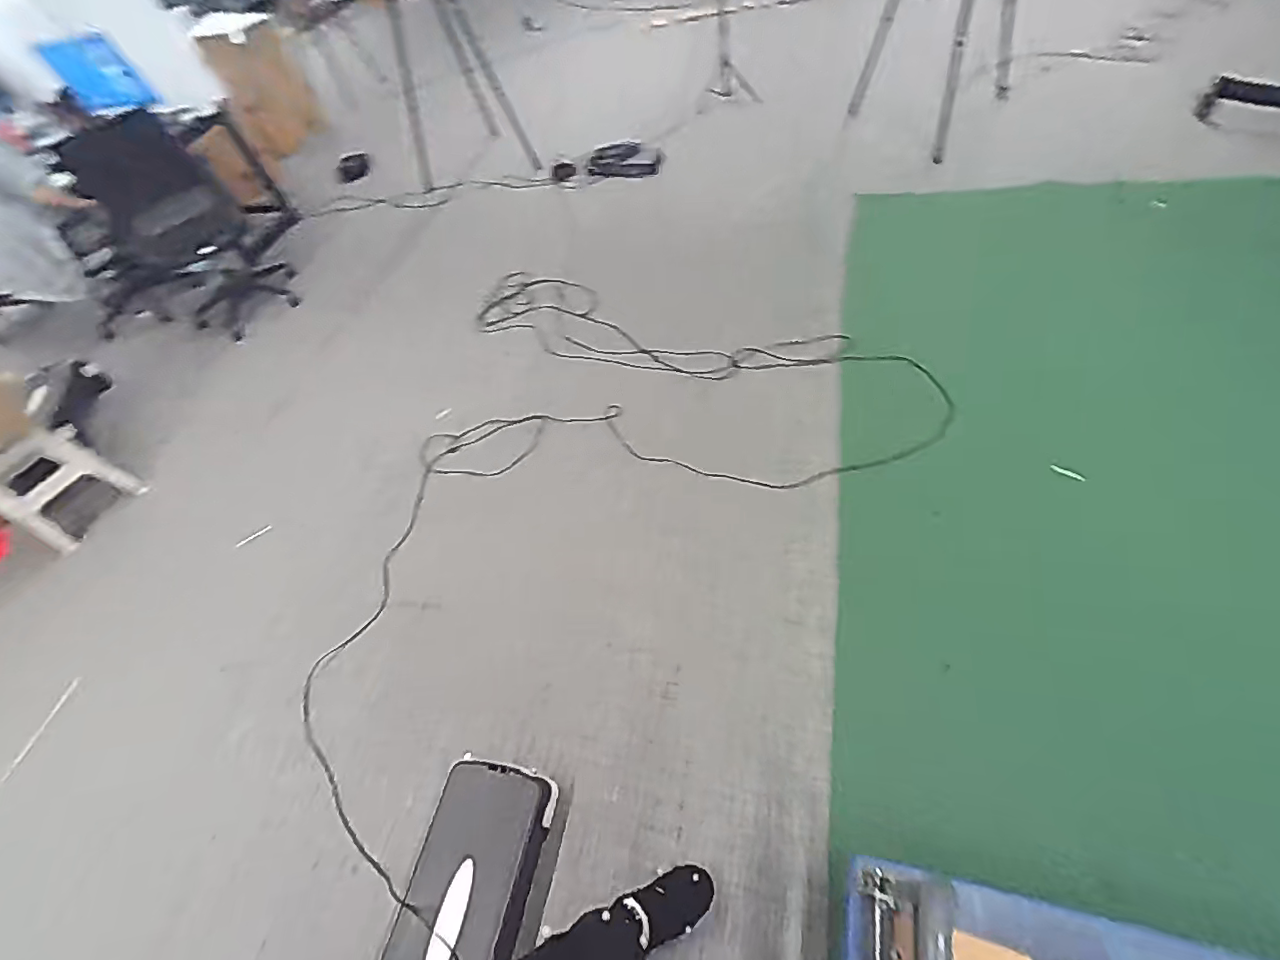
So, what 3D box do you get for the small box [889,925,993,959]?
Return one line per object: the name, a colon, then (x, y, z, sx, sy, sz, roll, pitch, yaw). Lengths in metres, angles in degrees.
small box: (0.524, 0.876, 0.901, 0.179, 0.176, 0.168, 10, 57, 18)
